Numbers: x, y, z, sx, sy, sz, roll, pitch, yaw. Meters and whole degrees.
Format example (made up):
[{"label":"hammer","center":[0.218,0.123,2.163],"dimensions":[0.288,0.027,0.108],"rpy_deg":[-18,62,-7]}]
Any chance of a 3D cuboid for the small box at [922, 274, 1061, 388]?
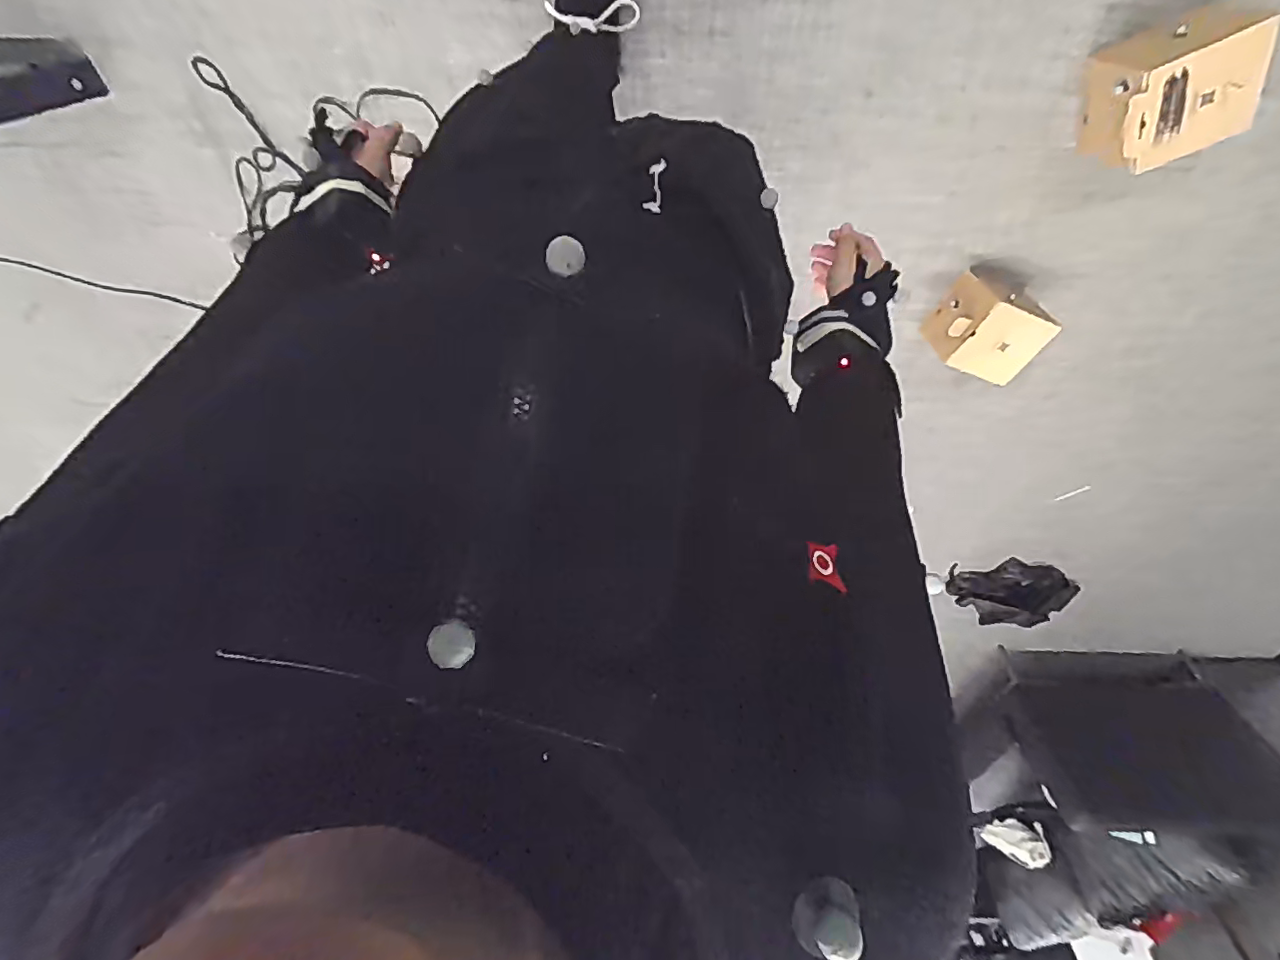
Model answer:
[{"label":"small box","center":[0.800,-0.347,1.249],"dimensions":[0.179,0.176,0.168],"rpy_deg":[16,133,-13]}]
